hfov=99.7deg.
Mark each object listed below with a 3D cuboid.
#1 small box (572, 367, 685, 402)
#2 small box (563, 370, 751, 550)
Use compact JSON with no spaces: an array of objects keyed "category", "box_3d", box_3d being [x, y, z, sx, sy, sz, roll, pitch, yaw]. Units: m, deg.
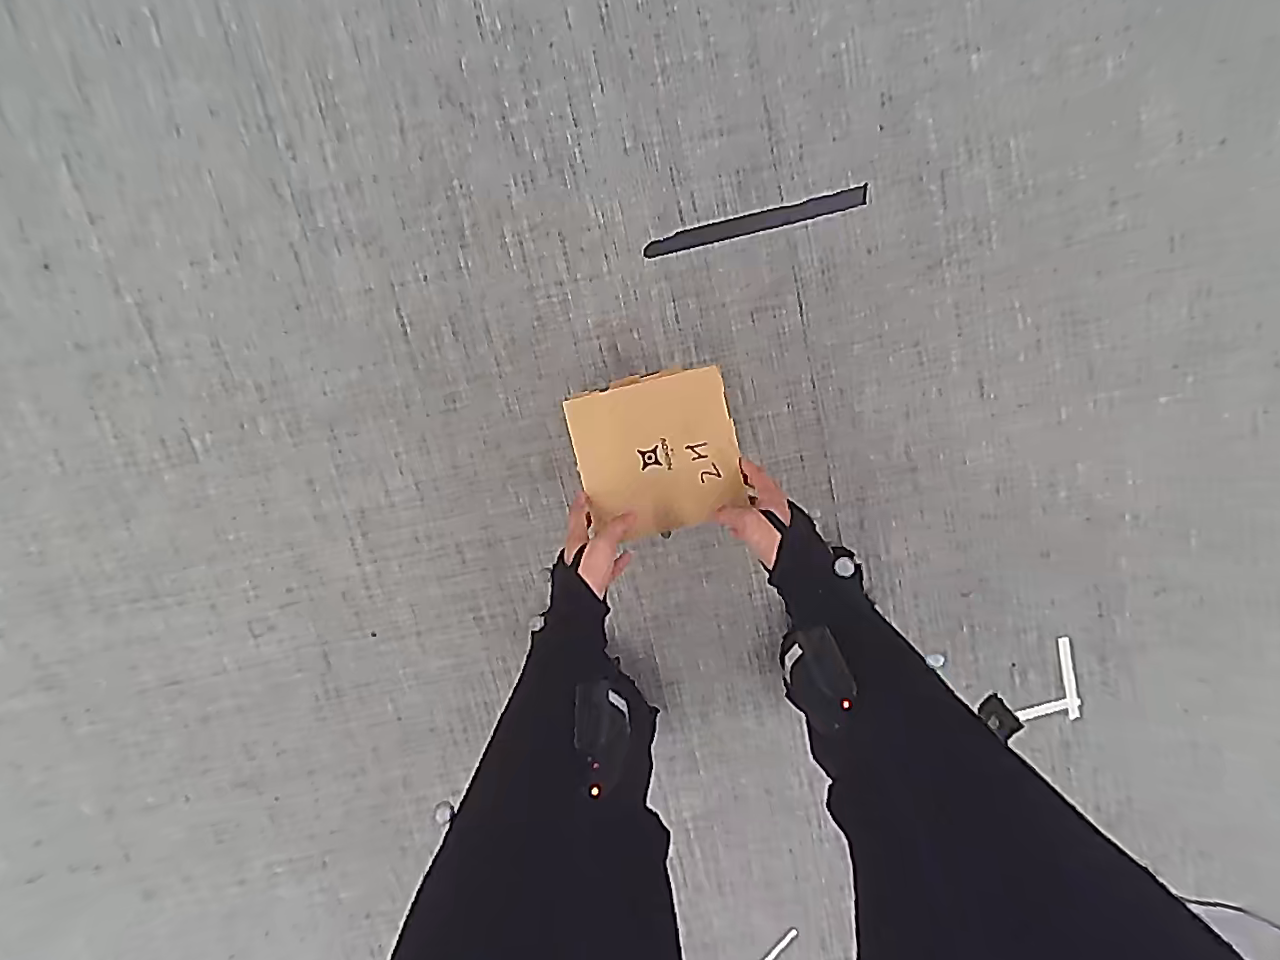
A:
[{"category":"small box","box_3d":[0.000,-0.066,0.842,0.168,0.176,0.179,-16,100,1]},{"category":"small box","box_3d":[0.020,-0.025,0.656,0.179,0.176,0.168,-13,95,1]}]
